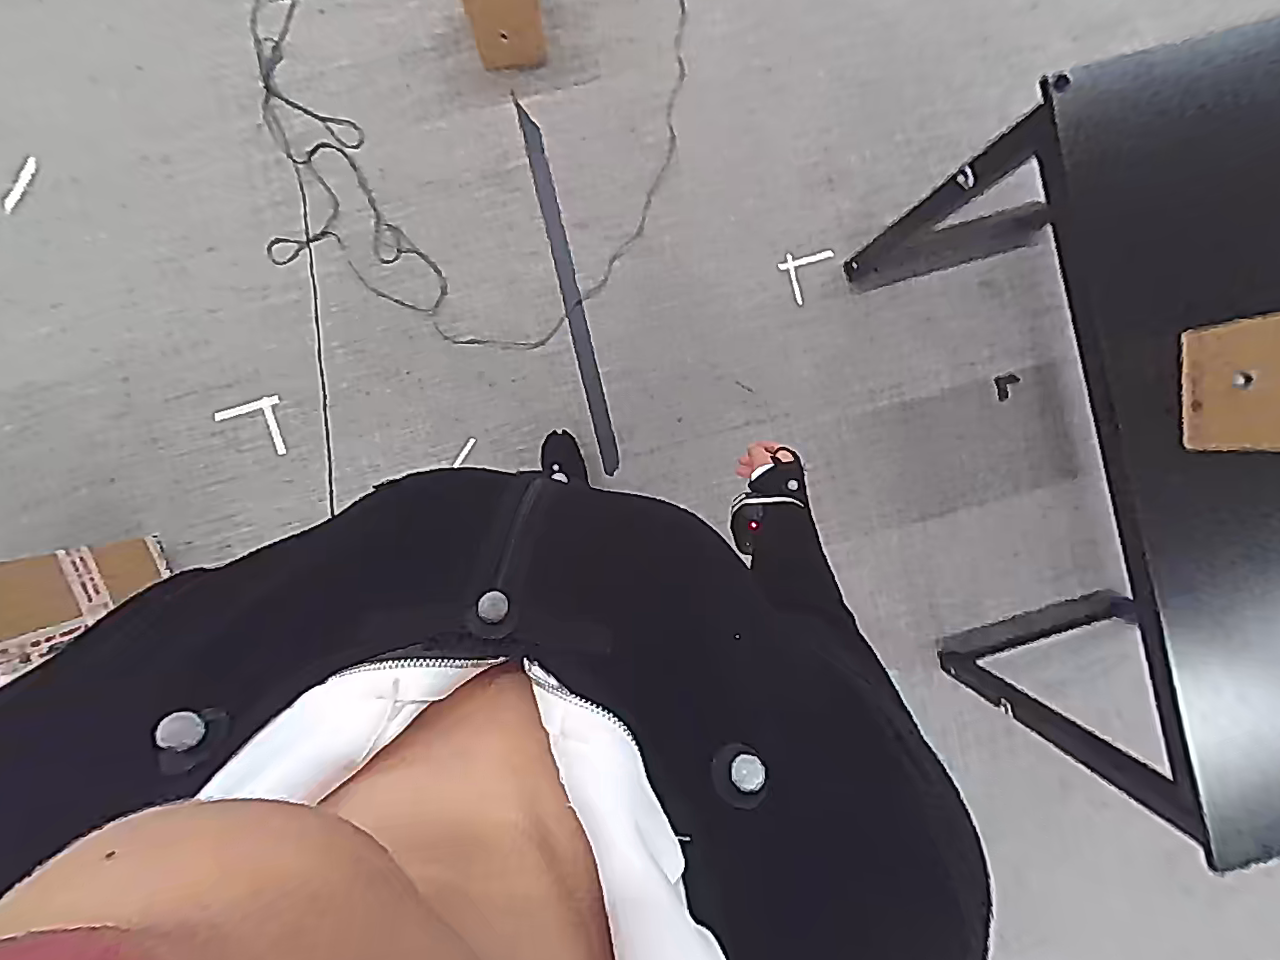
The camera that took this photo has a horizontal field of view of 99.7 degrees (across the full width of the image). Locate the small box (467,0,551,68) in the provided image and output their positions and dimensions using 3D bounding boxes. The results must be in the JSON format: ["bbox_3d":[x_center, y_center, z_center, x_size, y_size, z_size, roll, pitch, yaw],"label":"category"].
[{"bbox_3d":[-0.326,-1.160,1.334,0.179,0.176,0.168,-8,93,-1],"label":"small box"}]

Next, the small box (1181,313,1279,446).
[{"bbox_3d":[0.867,-0.131,0.707,0.179,0.176,0.168,-4,94,-3],"label":"small box"}]

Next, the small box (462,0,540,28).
[{"bbox_3d":[-0.322,-1.138,1.170,0.179,0.176,0.168,-15,93,-1],"label":"small box"}]
